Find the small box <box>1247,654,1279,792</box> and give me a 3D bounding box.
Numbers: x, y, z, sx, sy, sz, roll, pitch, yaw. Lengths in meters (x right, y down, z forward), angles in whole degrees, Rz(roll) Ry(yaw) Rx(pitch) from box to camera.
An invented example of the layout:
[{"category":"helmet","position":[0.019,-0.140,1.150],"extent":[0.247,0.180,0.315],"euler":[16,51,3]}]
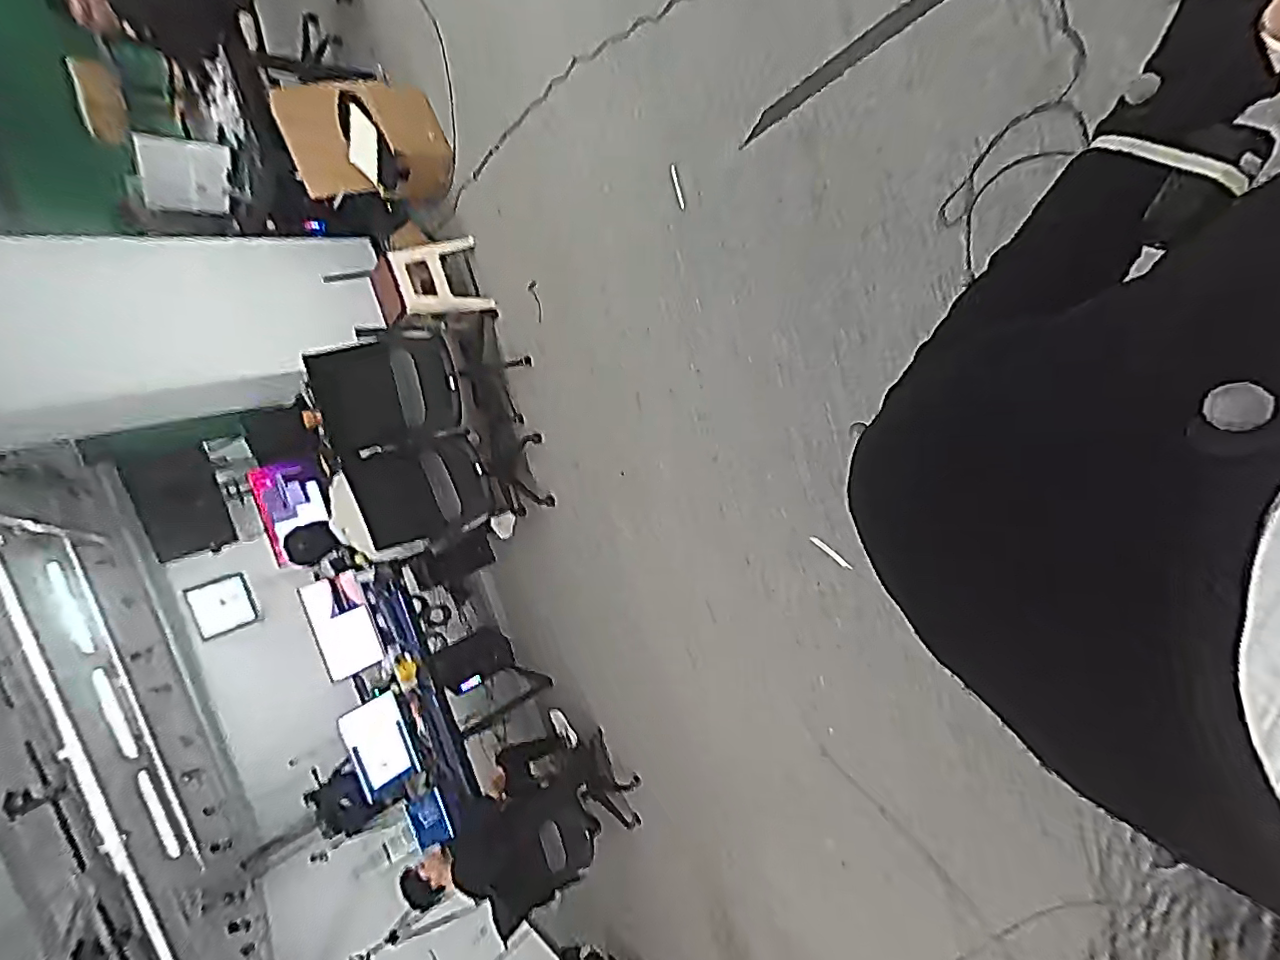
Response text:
[{"category":"small box","position":[0.884,0.315,0.643],"extent":[0.179,0.176,0.168],"euler":[-22,86,53]}]
